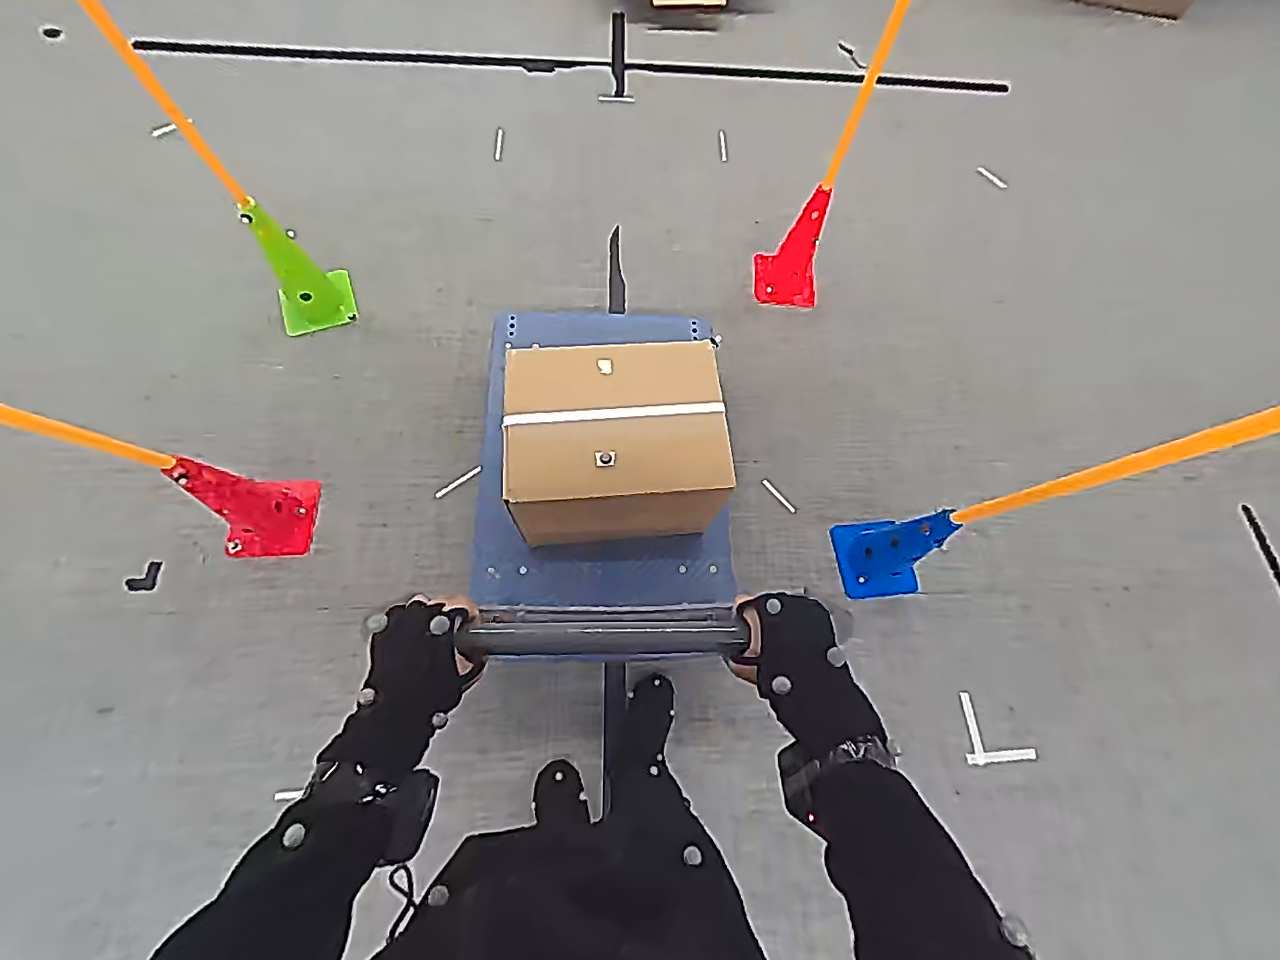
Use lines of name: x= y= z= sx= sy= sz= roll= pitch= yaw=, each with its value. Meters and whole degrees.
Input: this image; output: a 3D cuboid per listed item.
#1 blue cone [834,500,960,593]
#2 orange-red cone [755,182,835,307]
blue cone: x=0.633 y=0.138 z=1.280 sx=0.193 sy=0.380 sz=0.192 roll=-4 pitch=68 yaw=-6
orange-red cone: x=0.485 y=-0.708 z=1.584 sx=0.199 sy=0.360 sz=0.198 roll=7 pitch=69 yaw=-3
